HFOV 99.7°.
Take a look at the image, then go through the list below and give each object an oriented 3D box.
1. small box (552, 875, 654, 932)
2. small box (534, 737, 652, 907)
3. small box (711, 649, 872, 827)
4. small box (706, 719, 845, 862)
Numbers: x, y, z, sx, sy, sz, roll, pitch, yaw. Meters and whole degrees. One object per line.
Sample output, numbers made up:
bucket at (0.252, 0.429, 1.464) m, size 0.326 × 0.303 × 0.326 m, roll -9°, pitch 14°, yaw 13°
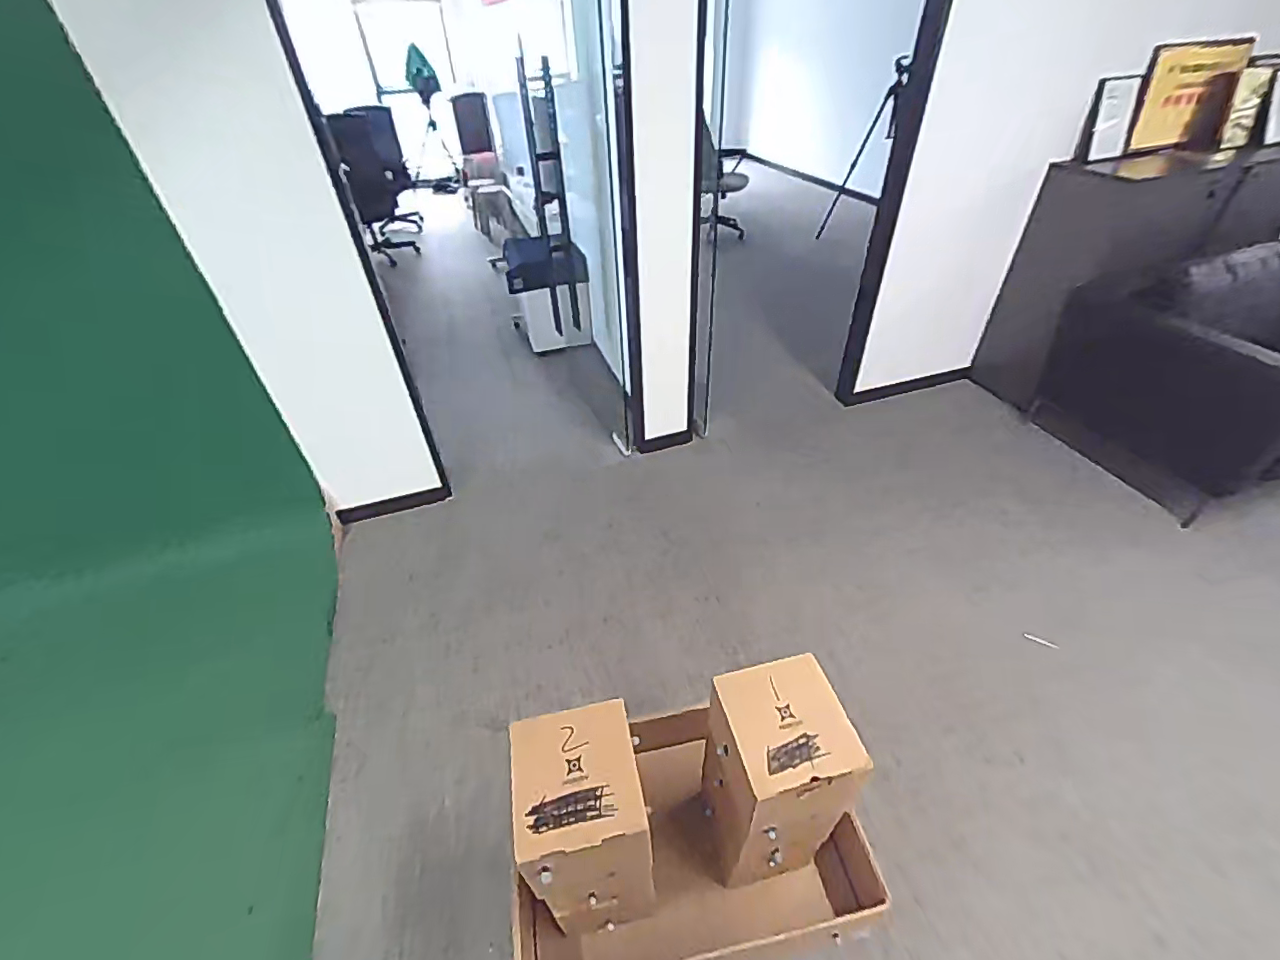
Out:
small box at (-0.071, 0.676, 0.978) m, size 0.168 × 0.176 × 0.179 m, roll -9°, pitch 41°, yaw -7°
small box at (-0.077, 0.552, 0.876) m, size 0.168 × 0.176 × 0.179 m, roll -8°, pitch 42°, yaw -7°
small box at (0.210, 0.387, 0.803) m, size 0.168 × 0.176 × 0.179 m, roll -11°, pitch 41°, yaw -8°
small box at (0.214, 0.507, 0.915) m, size 0.168 × 0.176 × 0.179 m, roll -10°, pitch 43°, yaw -8°
